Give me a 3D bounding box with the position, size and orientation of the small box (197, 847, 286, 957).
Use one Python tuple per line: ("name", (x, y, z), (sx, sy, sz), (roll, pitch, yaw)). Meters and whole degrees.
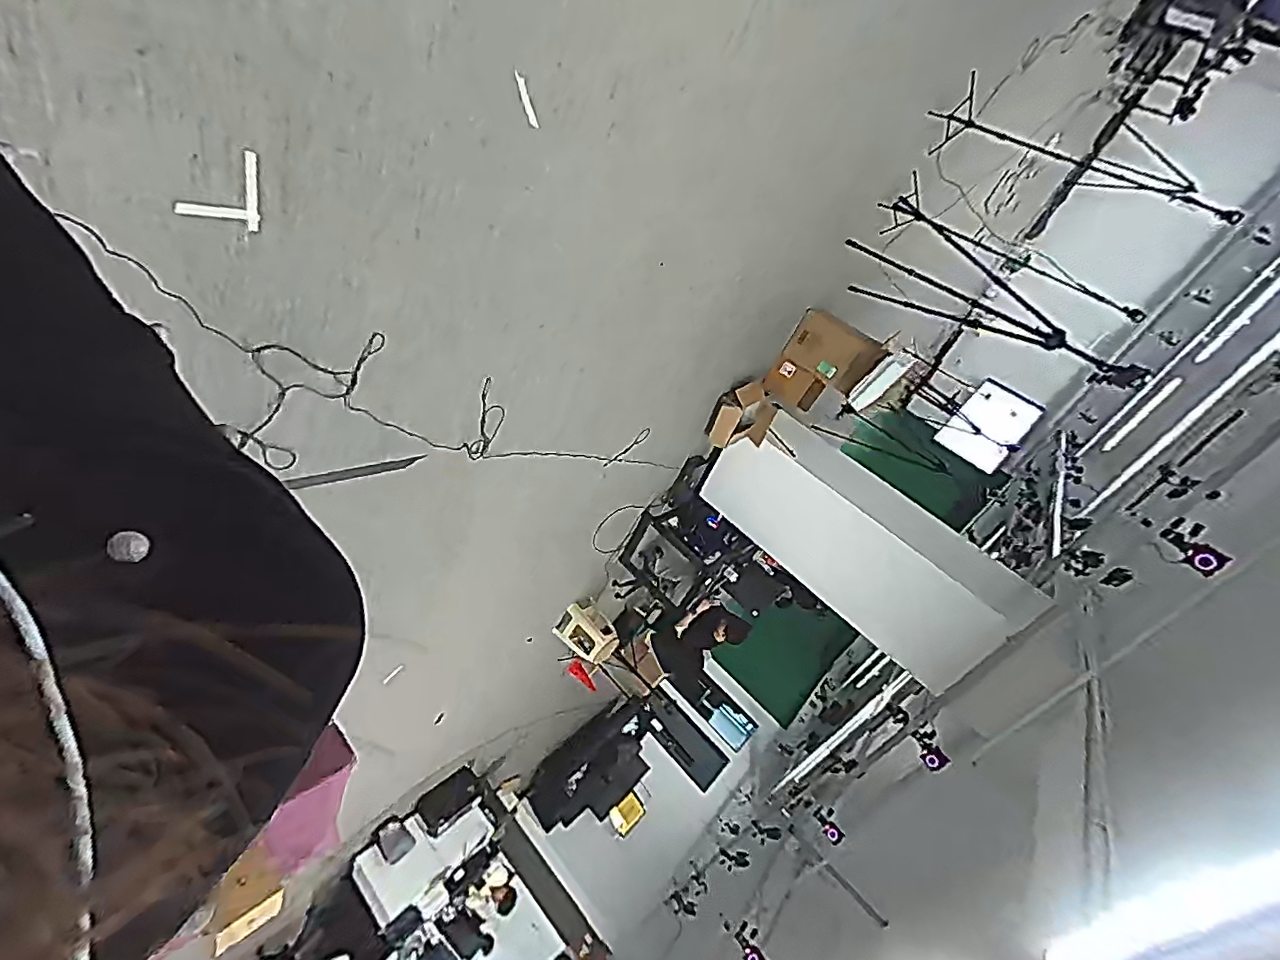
("small box", (-1.176, 1.232, 1.594), (0.168, 0.176, 0.179), (-16, 141, -52))
